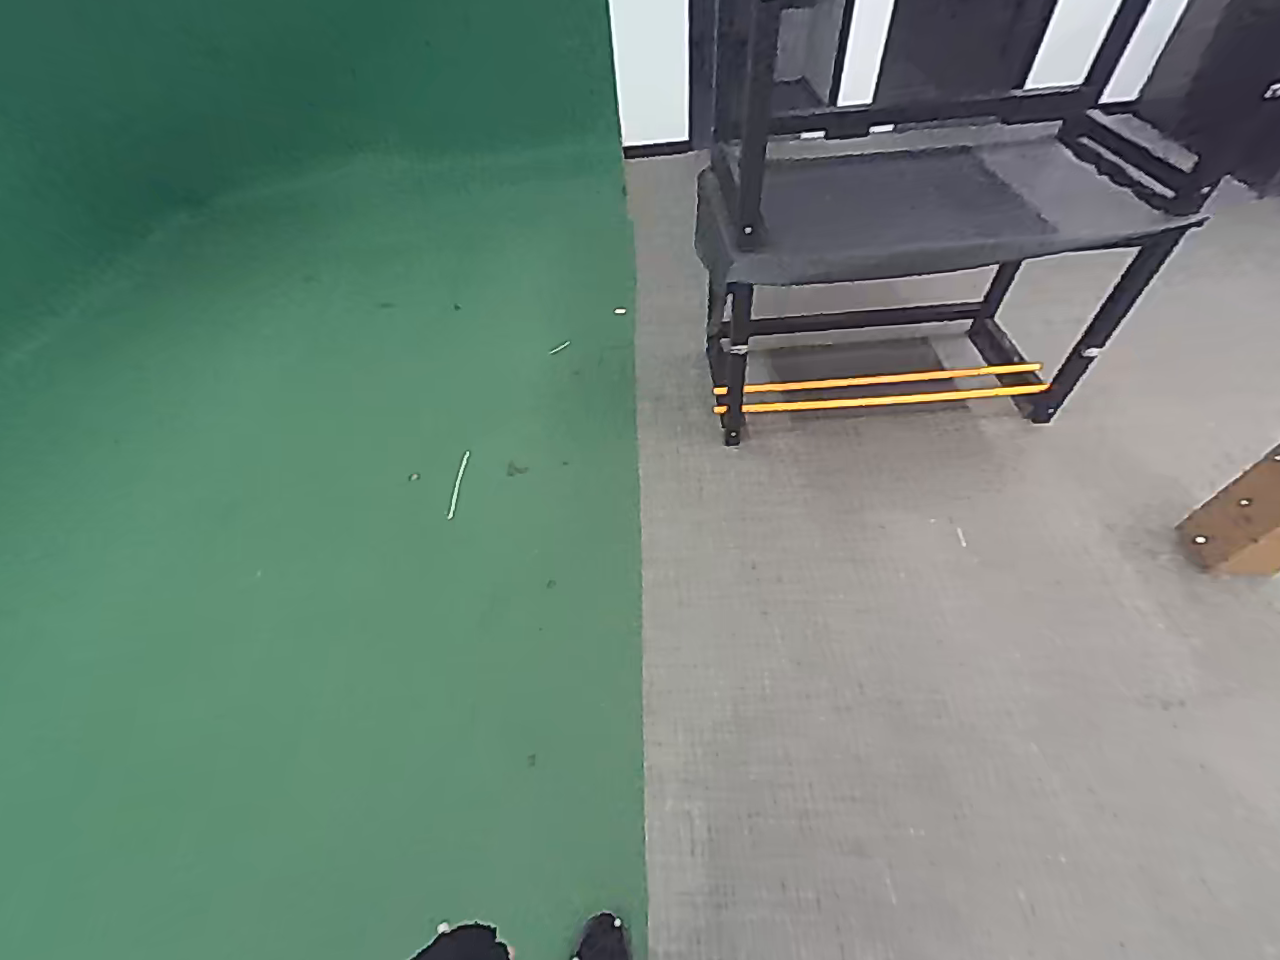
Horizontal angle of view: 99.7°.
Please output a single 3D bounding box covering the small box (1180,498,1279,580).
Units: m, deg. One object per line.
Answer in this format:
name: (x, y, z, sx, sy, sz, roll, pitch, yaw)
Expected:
small box: (1.700, 0.168, 1.513, 0.179, 0.176, 0.168, 0, 50, 6)
